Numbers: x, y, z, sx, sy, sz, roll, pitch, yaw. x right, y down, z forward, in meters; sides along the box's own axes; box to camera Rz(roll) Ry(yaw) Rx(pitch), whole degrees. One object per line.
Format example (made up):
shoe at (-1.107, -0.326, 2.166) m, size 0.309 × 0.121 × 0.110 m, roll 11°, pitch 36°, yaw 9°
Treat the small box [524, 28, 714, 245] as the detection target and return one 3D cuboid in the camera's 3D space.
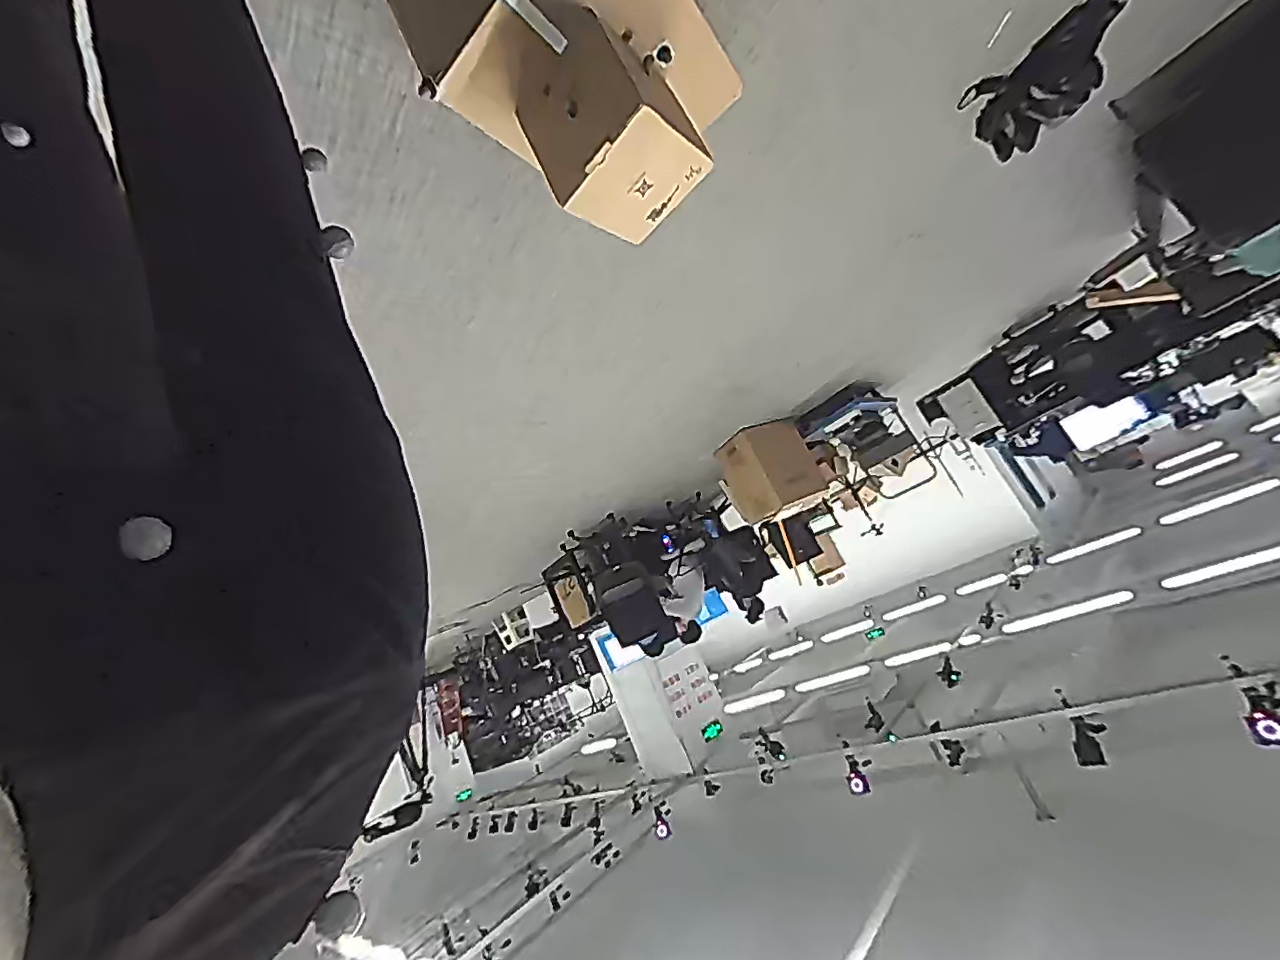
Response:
small box at (-0.033, -0.474, 0.759) m, size 0.168 × 0.176 × 0.179 m, roll -35°, pitch 163°, yaw 33°
